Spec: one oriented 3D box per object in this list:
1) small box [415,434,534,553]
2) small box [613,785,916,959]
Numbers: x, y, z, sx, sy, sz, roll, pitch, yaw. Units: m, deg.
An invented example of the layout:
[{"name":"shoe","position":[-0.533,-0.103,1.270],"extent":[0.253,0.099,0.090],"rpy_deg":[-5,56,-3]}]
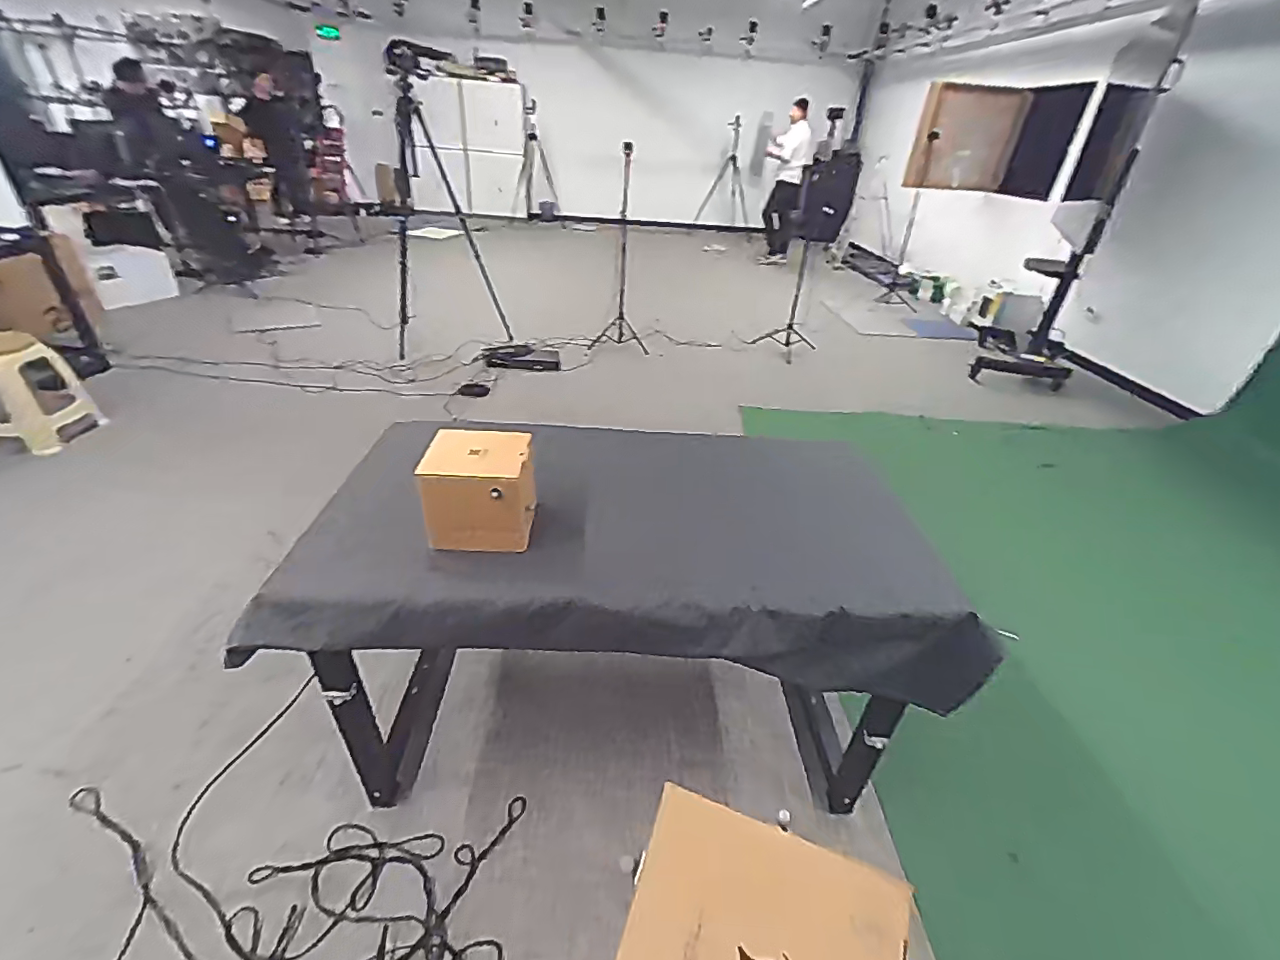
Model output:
[{"name":"small box","position":[-0.301,0.025,1.024],"extent":[0.179,0.176,0.168],"rpy_deg":[2,32,-4]},{"name":"small box","position":[0.077,0.349,0.407],"extent":[0.179,0.176,0.168],"rpy_deg":[16,61,12]}]
